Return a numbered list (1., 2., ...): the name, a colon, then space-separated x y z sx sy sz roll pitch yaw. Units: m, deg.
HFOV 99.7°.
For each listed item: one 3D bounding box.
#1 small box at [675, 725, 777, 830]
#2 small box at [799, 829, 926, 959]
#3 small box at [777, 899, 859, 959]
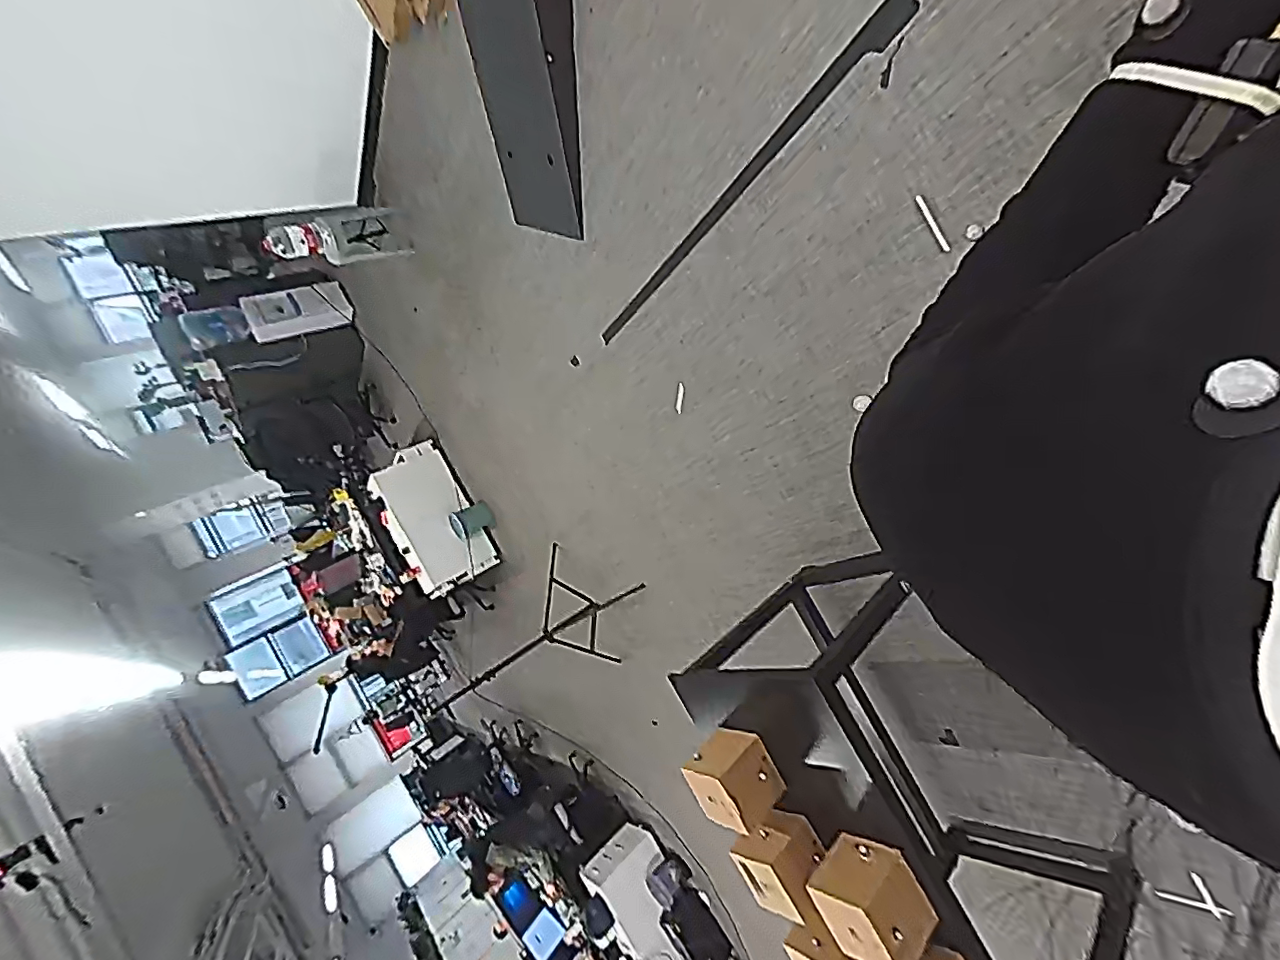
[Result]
1. small box: 0.233 0.789 1.457 0.179 0.176 0.168 -27 92 55
2. small box: 0.505 0.942 1.221 0.168 0.176 0.179 -32 86 55
3. small box: 0.506 1.250 1.430 0.179 0.176 0.168 -28 90 55
